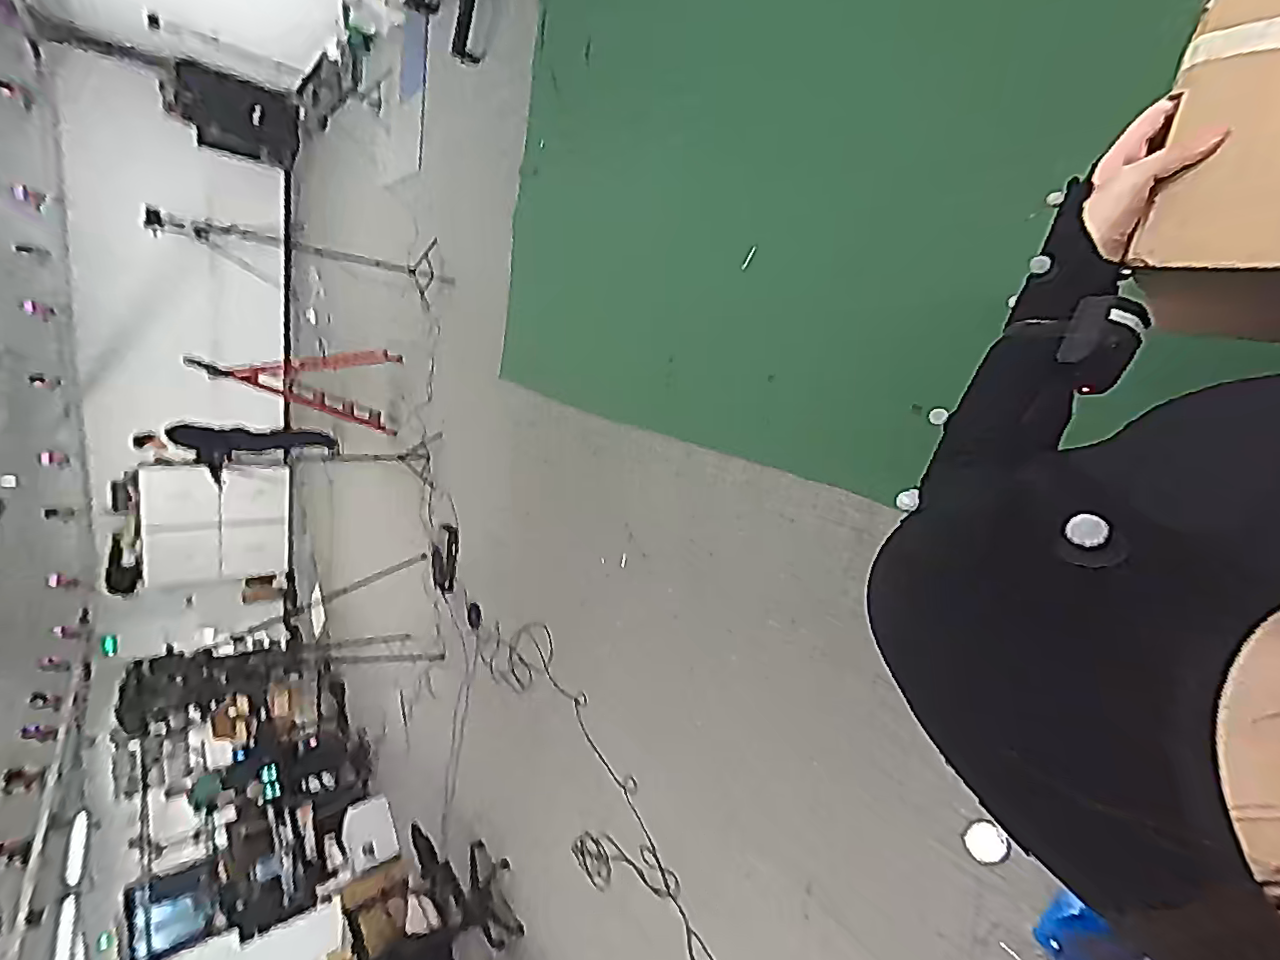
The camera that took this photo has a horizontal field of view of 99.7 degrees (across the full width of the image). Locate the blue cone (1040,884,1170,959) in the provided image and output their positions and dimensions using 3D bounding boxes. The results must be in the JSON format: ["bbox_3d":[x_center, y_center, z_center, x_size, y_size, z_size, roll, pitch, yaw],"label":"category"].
[{"bbox_3d":[0.917,1.049,1.112,0.193,0.380,0.192,34,115,42],"label":"blue cone"}]

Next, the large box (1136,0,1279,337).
[{"bbox_3d":[0.660,-0.274,0.373,0.408,0.320,0.320,22,106,44],"label":"large box"}]
